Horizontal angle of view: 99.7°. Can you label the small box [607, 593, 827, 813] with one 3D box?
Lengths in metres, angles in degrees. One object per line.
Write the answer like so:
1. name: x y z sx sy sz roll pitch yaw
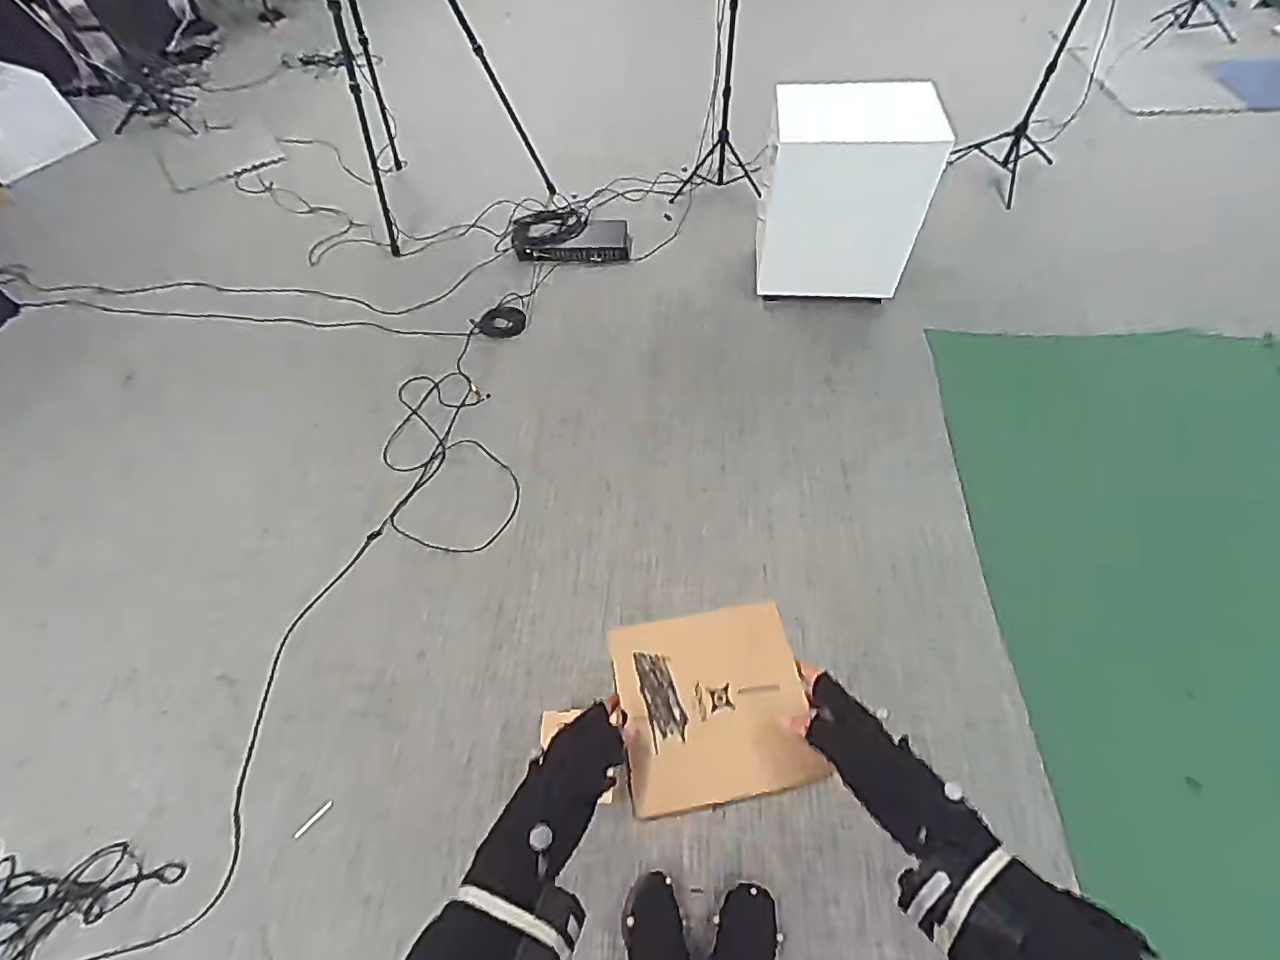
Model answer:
1. small box: 0.068 0.239 0.568 0.179 0.176 0.168 -10 57 -4
